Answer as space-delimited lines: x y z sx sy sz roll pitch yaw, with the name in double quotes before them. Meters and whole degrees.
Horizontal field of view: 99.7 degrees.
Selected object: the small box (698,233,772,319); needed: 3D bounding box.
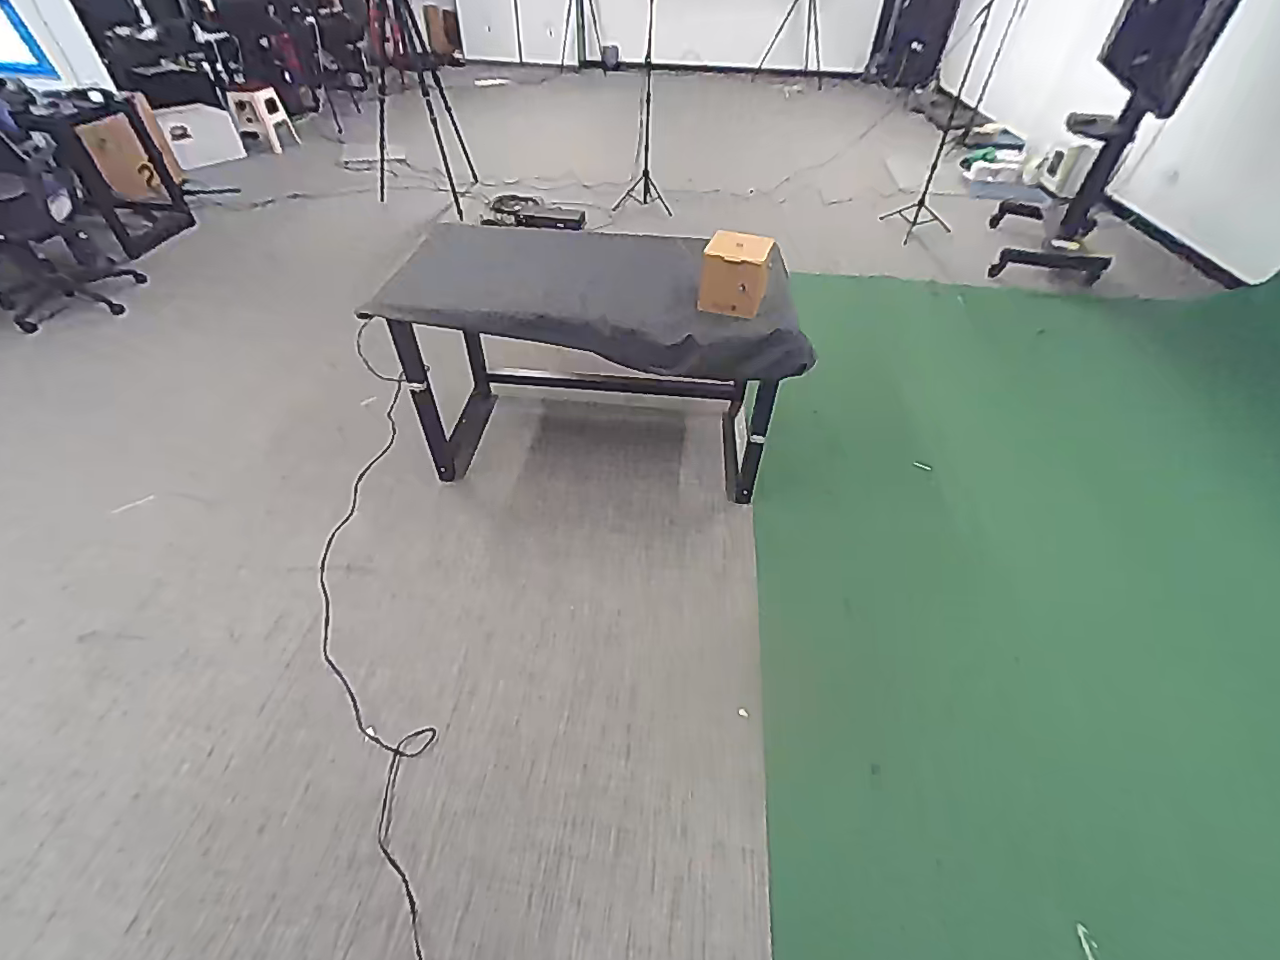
"small box" 0.267 -0.578 1.535 0.168 0.176 0.179 15 45 12
